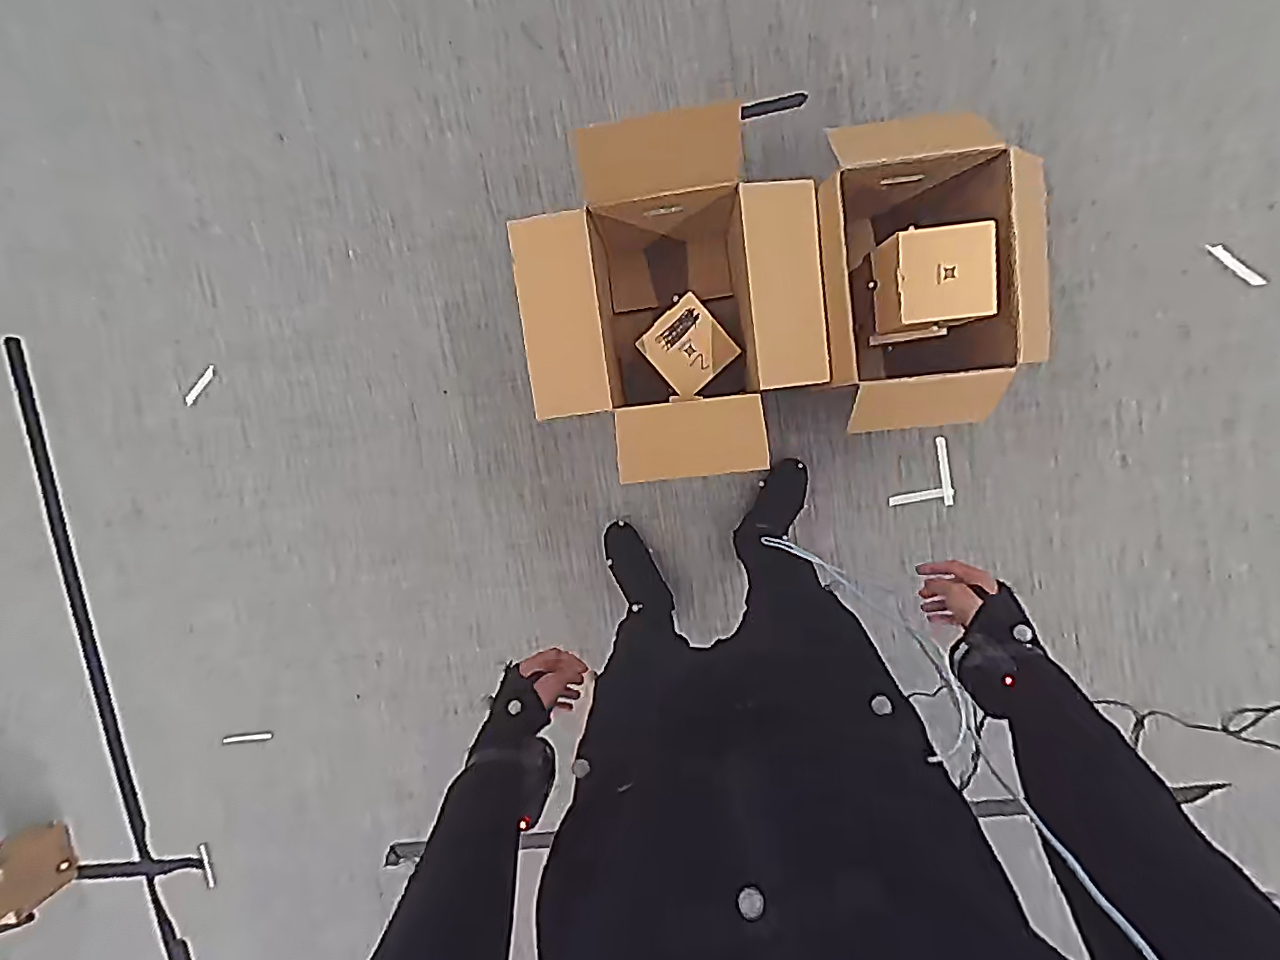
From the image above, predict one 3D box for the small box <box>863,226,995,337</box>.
[{"bbox_3d":[0.558,-0.380,1.061,0.179,0.176,0.168,-6,98,4],"label":"small box"}]
